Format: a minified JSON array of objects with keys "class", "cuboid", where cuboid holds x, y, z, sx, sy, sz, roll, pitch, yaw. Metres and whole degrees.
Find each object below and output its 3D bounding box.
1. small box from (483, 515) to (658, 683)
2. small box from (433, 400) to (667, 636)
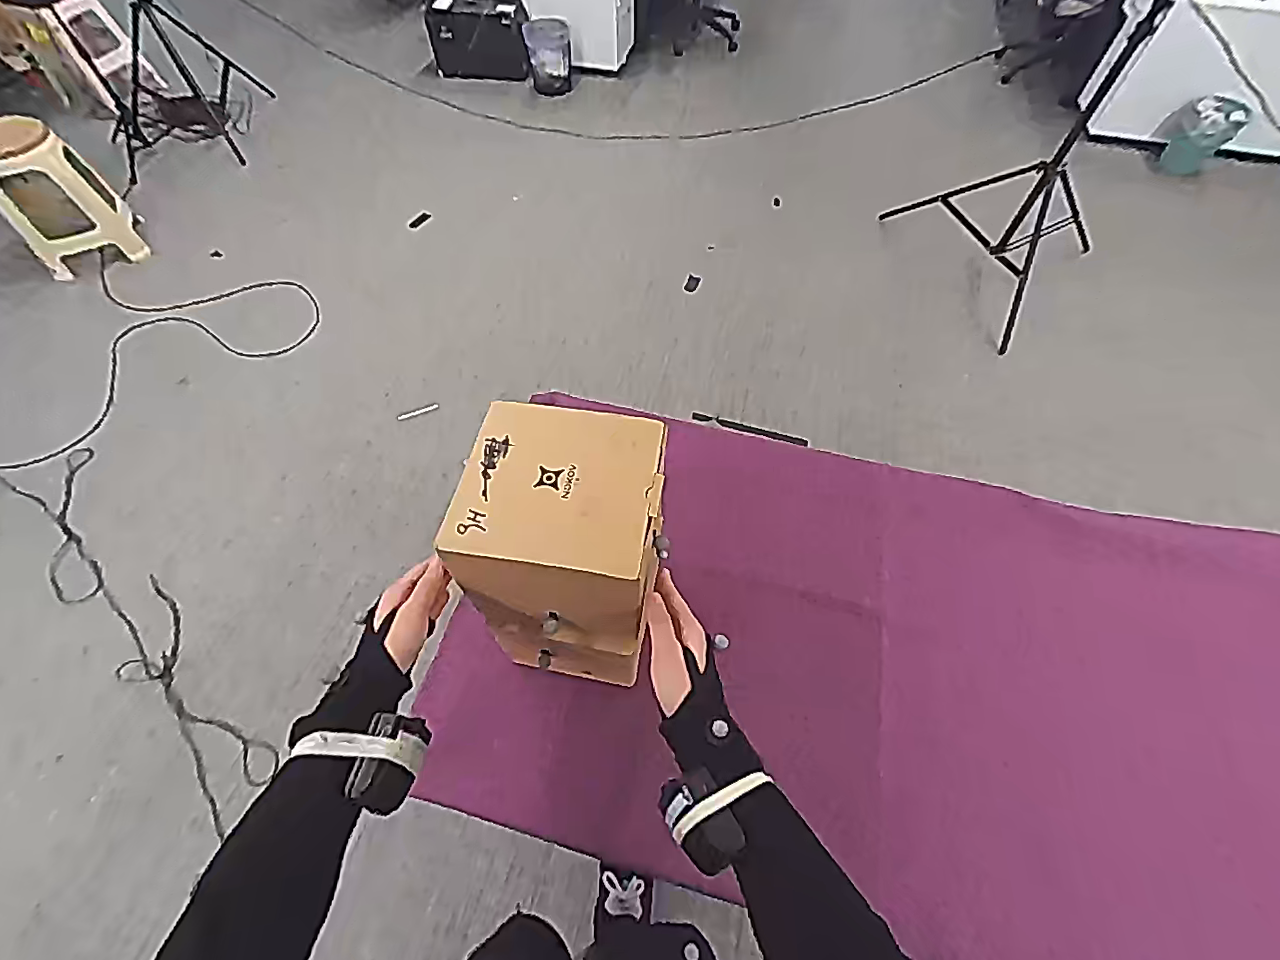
[{"class":"small box","cuboid":[-0.074,0.141,0.684,0.168,0.176,0.179,10,58,6]},{"class":"small box","cuboid":[-0.076,0.046,0.549,0.179,0.176,0.168,9,56,4]}]
